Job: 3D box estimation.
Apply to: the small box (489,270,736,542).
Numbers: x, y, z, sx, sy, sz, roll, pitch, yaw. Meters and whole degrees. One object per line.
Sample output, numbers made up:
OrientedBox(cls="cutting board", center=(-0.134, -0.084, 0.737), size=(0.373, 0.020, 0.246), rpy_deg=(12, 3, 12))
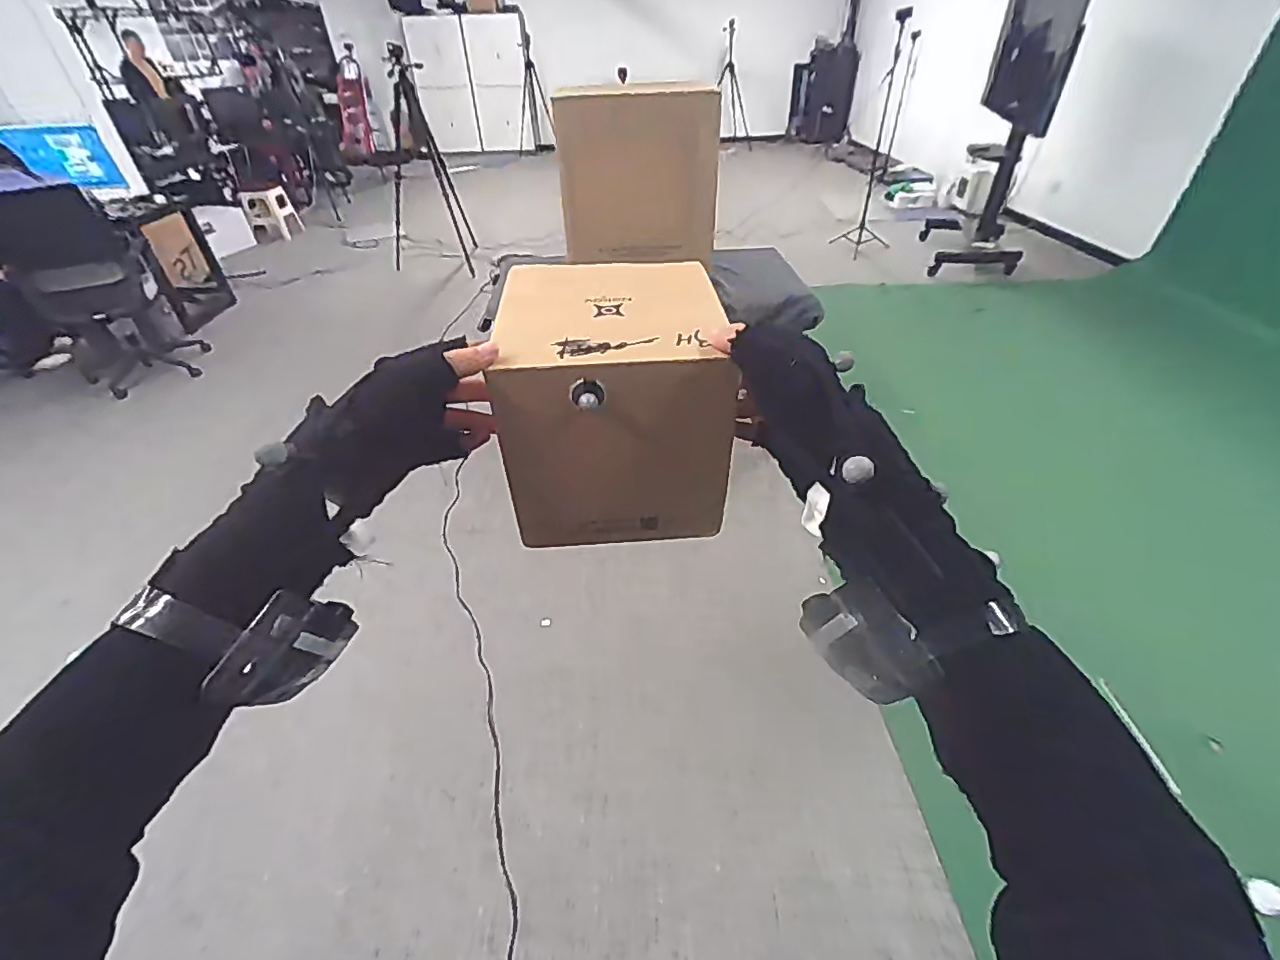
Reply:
OrientedBox(cls="small box", center=(-0.022, -0.067, 0.467), size=(0.168, 0.176, 0.179), rpy_deg=(-3, 40, -2))
